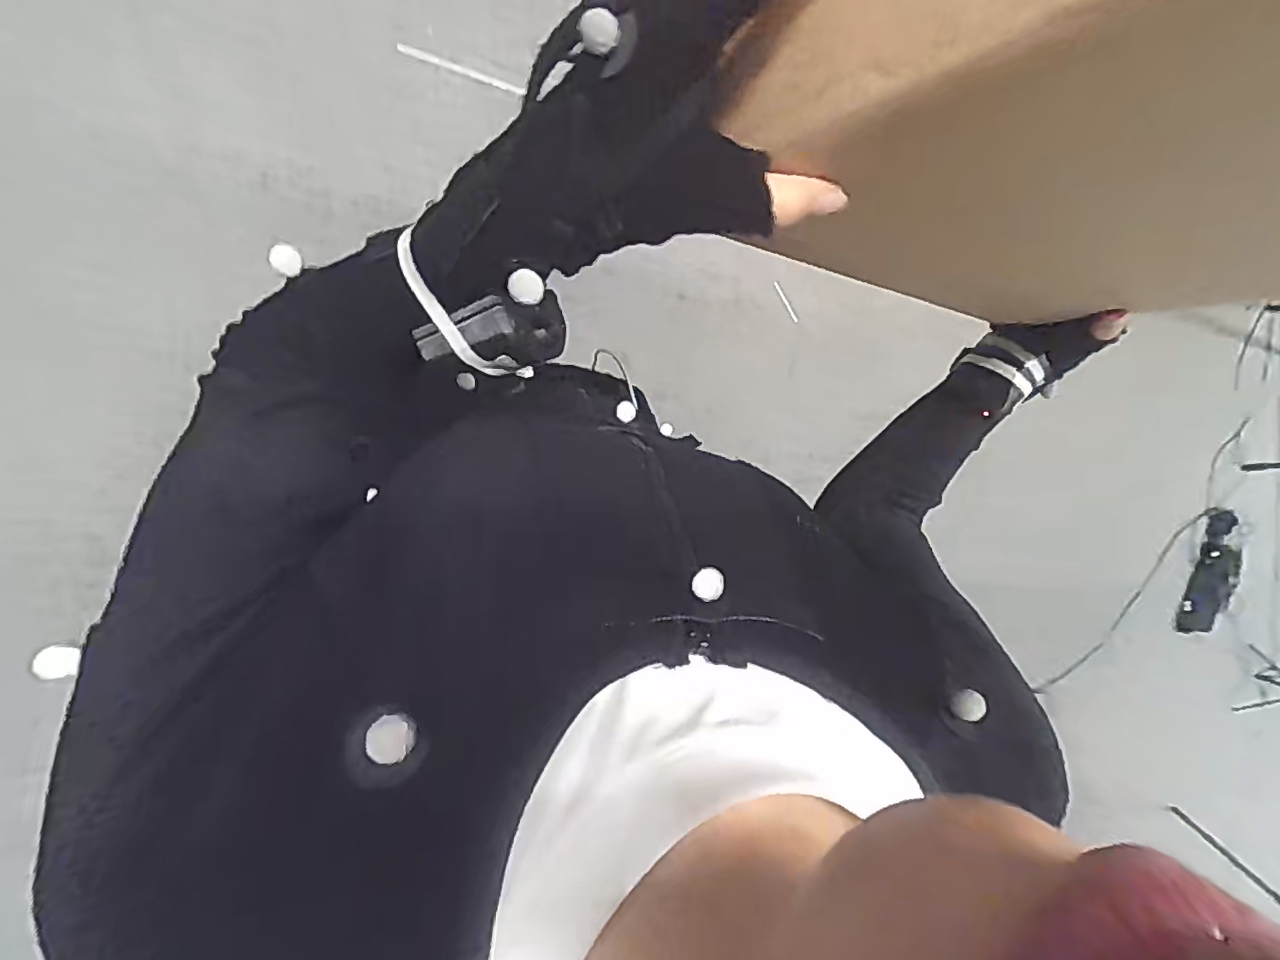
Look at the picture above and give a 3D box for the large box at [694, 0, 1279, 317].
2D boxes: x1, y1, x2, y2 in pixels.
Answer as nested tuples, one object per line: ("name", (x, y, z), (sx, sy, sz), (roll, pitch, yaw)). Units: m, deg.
("large box", (0.271, -0.271, 0.243), (0.408, 0.320, 0.320), (-3, 99, -37))
